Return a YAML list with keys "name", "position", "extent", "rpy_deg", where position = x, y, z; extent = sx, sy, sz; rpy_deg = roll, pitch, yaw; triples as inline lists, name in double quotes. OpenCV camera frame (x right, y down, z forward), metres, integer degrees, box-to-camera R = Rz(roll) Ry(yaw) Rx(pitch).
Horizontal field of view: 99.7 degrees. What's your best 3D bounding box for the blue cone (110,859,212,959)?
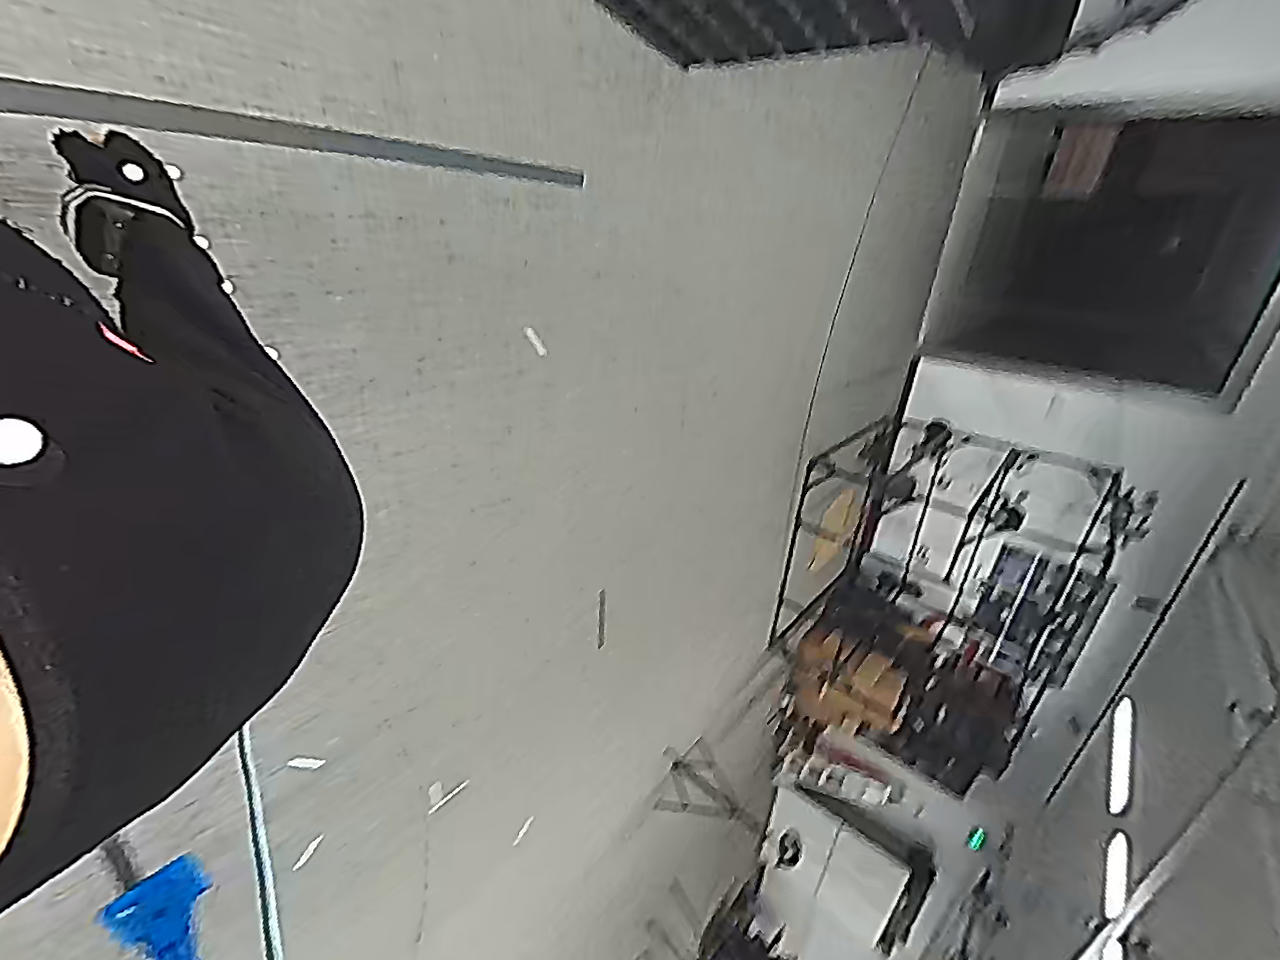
- name: "blue cone"
  position: [-1.214, 1.235, 1.428]
  extent: [0.192, 0.380, 0.193]
  rpy_deg: [-29, 131, -44]
